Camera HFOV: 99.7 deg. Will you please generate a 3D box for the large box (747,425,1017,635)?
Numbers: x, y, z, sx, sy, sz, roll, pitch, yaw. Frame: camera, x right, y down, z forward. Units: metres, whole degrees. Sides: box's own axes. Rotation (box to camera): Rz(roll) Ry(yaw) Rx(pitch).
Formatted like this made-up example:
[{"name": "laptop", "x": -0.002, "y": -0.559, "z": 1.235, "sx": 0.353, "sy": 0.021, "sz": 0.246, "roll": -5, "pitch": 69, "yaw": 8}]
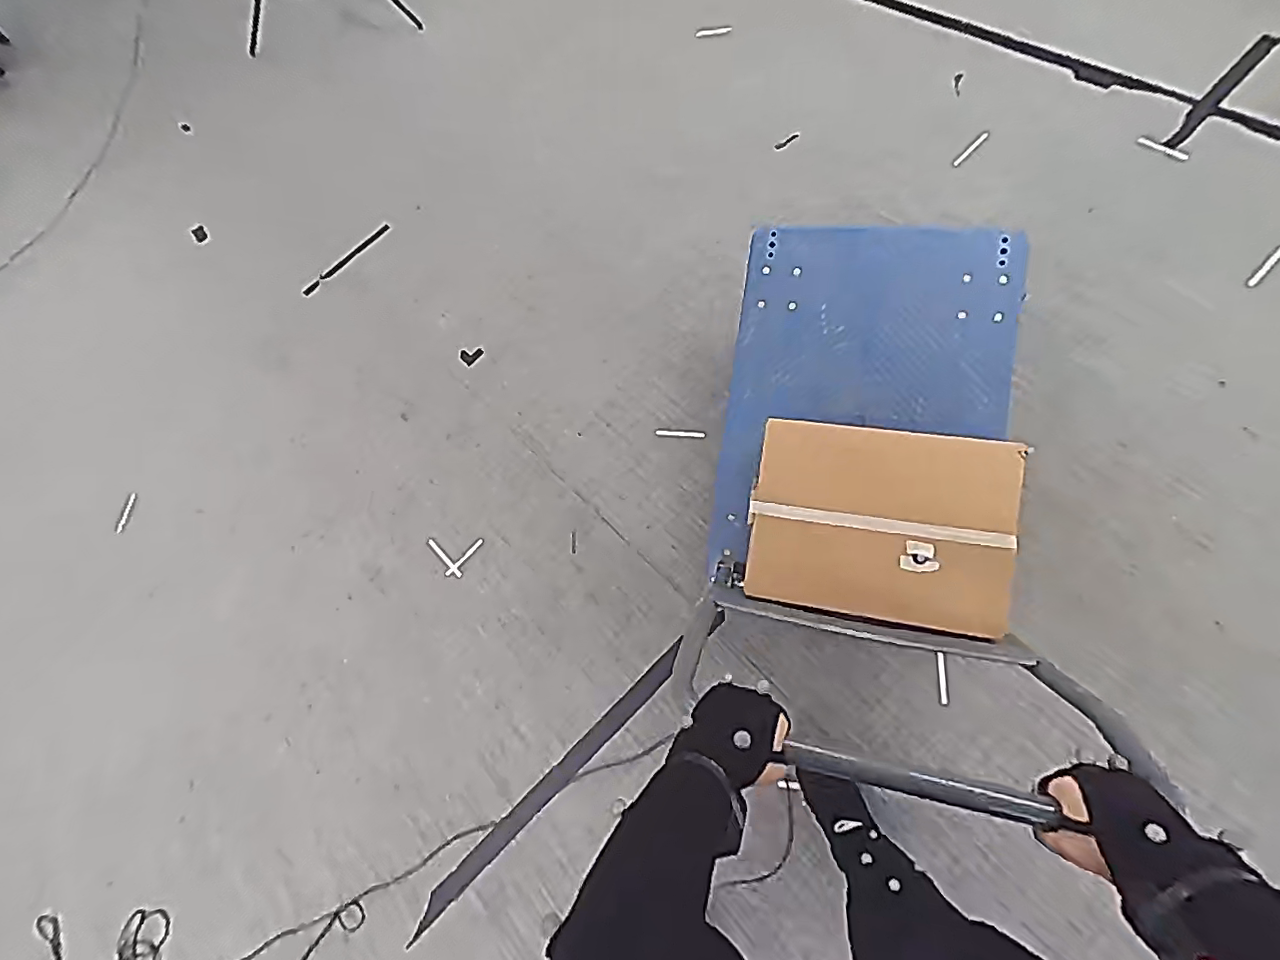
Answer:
[{"name": "large box", "x": 0.428, "y": 0.084, "z": 1.055, "sx": 0.408, "sy": 0.320, "sz": 0.320, "roll": 8, "pitch": 89, "yaw": 13}]
